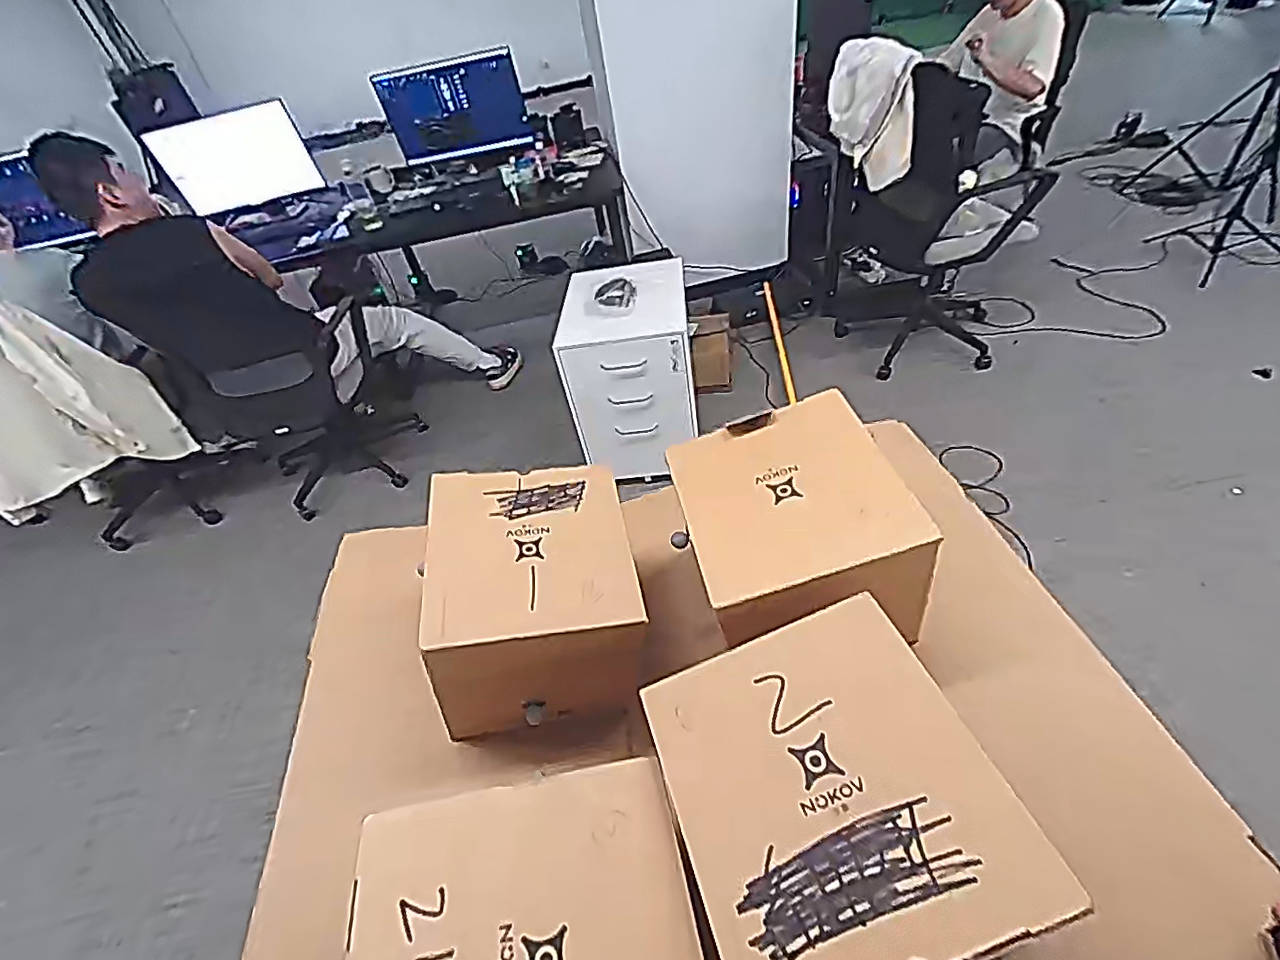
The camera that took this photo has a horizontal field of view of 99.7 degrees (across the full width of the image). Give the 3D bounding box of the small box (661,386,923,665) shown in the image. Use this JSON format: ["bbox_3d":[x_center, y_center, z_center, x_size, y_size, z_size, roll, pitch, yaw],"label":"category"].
[{"bbox_3d":[0.134,0.051,0.500,0.168,0.176,0.179,-19,45,5],"label":"small box"}]
